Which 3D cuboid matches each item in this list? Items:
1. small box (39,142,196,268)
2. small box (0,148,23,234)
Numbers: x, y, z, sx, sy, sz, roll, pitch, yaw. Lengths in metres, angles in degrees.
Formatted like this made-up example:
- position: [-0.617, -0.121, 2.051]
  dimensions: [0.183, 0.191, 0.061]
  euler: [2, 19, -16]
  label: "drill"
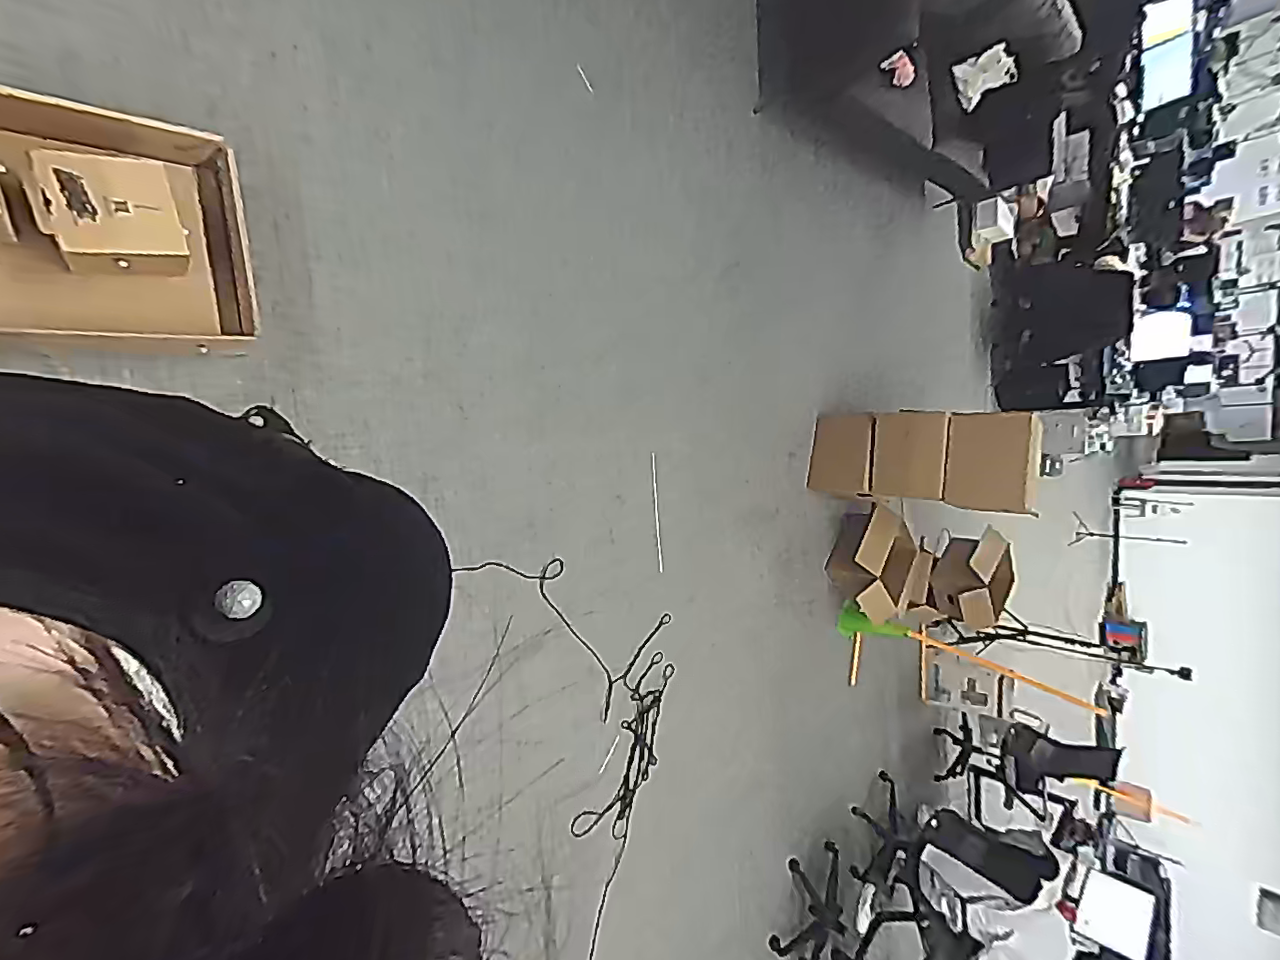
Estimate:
- position: [-0.970, -0.505, 1.021]
  dimensions: [0.179, 0.176, 0.168]
  euler: [-18, 105, -39]
  label: "small box"
- position: [-1.023, -0.461, 0.762]
  dimensions: [0.168, 0.176, 0.179]
  euler: [-16, 105, -42]
  label: "small box"
